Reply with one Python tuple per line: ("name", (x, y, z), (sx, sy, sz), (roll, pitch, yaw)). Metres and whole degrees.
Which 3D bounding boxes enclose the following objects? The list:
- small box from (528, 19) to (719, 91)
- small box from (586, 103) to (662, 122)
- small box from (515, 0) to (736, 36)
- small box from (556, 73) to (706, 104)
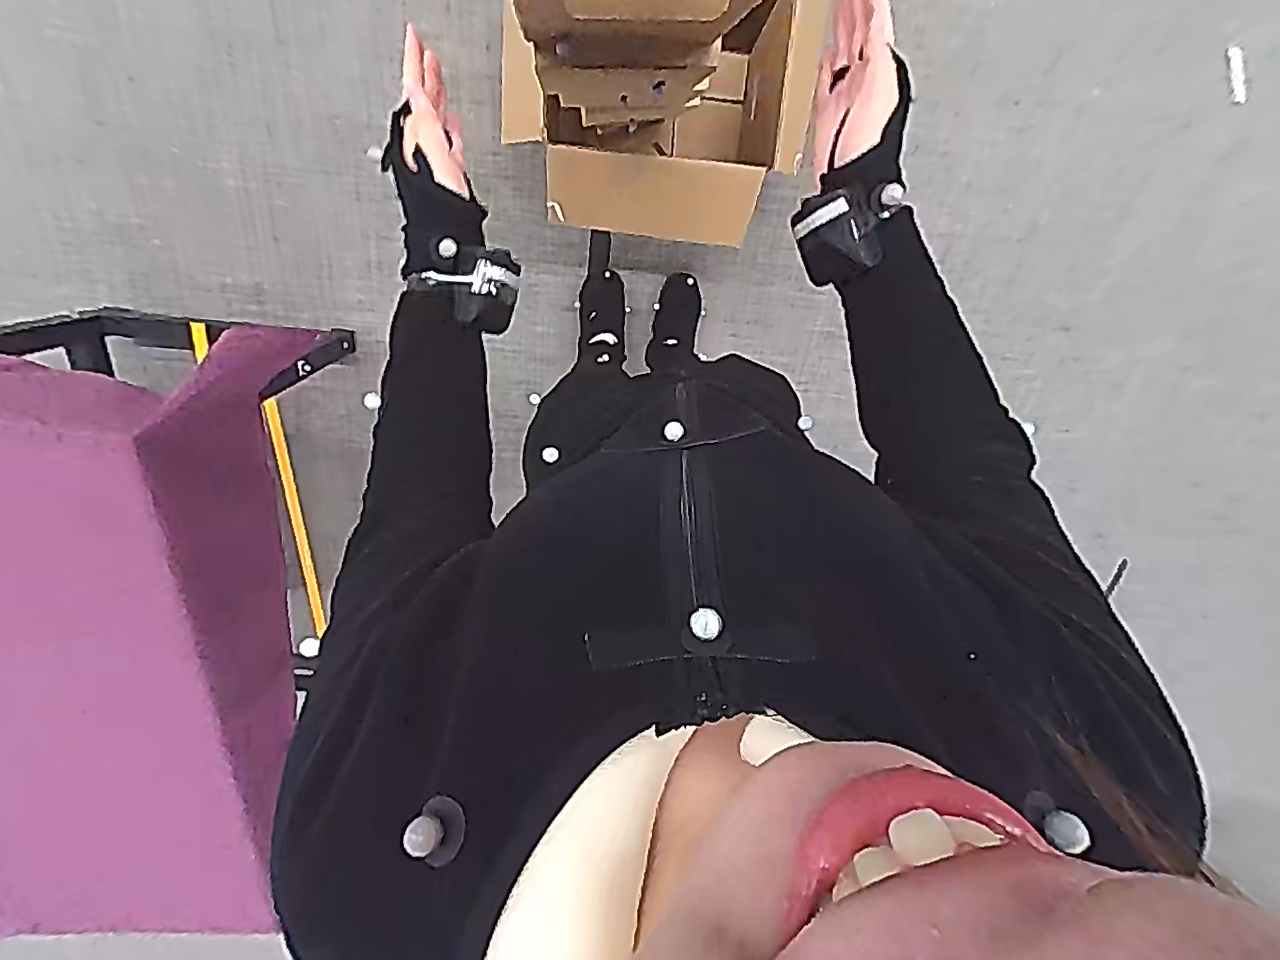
("small box", (-0.020, -0.476, 0.500), (0.168, 0.176, 0.179), (-3, 119, -6))
("small box", (-0.022, -0.733, 0.922), (0.179, 0.176, 0.168), (-16, 119, 1))
("small box", (-0.009, -0.411, 0.349), (0.168, 0.176, 0.179), (-5, 119, -6))
("small box", (-0.019, -0.555, 0.643), (0.179, 0.176, 0.168), (-4, 120, -5))
